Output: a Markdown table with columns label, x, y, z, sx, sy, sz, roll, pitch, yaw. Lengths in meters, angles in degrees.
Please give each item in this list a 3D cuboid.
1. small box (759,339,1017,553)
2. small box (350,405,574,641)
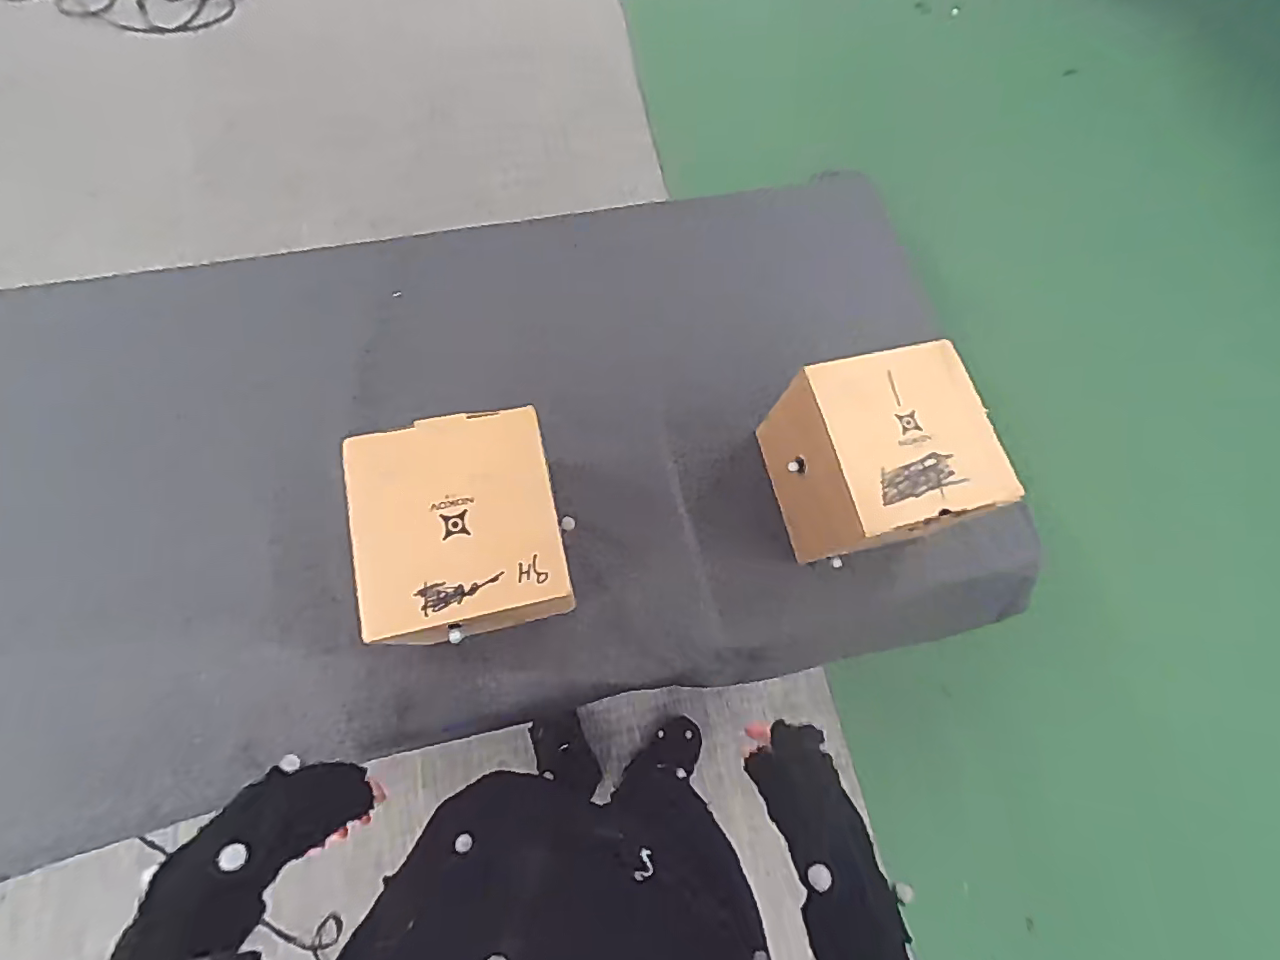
| label | x | y | z | sx | sy | sz | roll | pitch | yaw |
| --- | --- | --- | --- | --- | --- | --- | --- | --- | --- |
| small box | 0.249 | -0.024 | 0.591 | 0.168 | 0.176 | 0.179 | -12 | 73 | -9 |
| small box | -0.161 | 0.051 | 0.528 | 0.168 | 0.176 | 0.179 | -11 | 74 | -9 |
